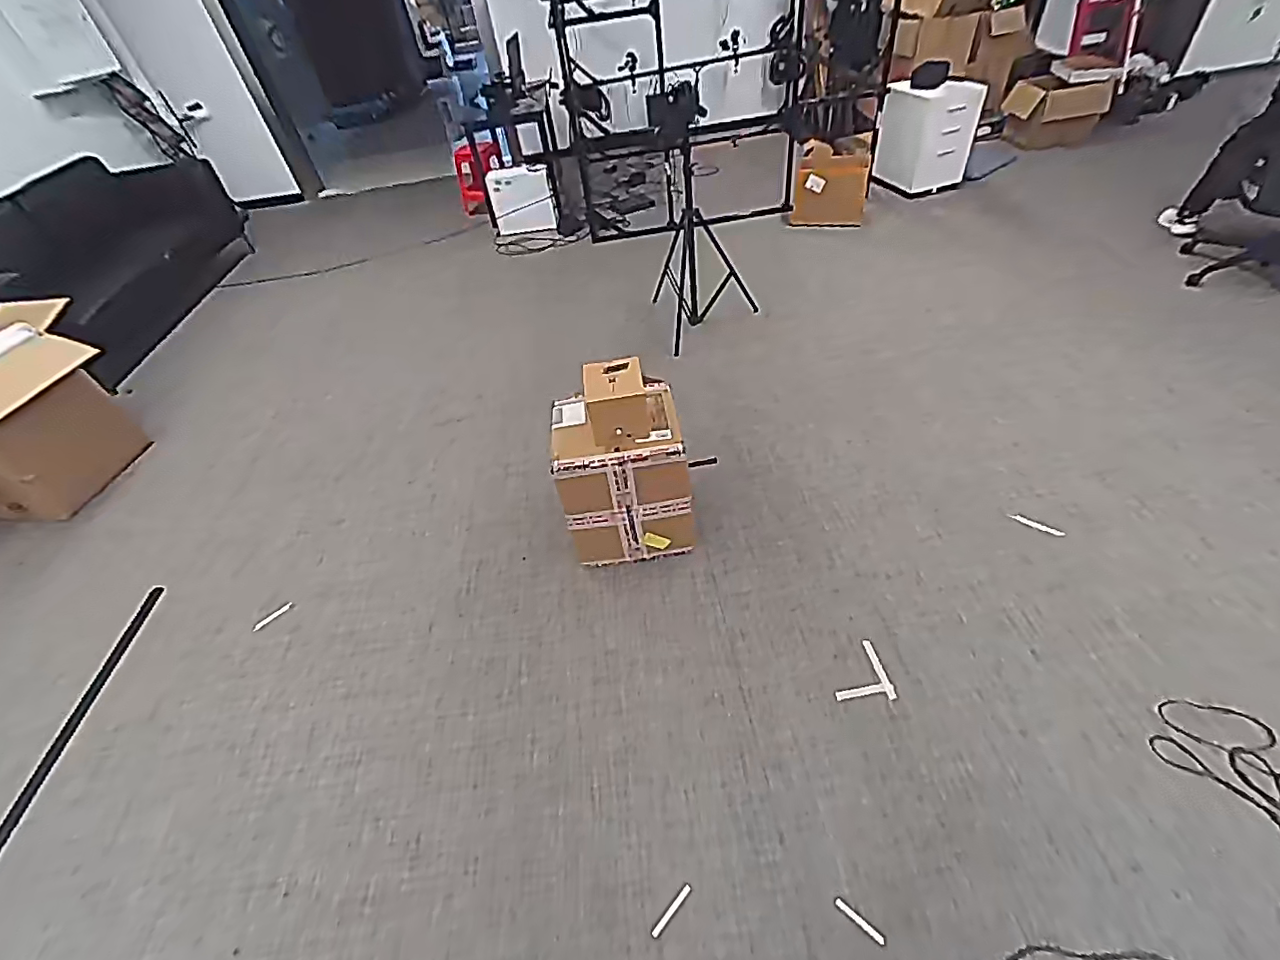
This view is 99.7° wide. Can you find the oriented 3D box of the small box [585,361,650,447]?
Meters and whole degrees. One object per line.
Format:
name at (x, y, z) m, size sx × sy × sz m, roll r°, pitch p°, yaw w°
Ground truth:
small box at (-0.066, -0.222, 1.582) m, size 0.168 × 0.176 × 0.179 m, roll -9°, pitch 48°, yaw 1°
